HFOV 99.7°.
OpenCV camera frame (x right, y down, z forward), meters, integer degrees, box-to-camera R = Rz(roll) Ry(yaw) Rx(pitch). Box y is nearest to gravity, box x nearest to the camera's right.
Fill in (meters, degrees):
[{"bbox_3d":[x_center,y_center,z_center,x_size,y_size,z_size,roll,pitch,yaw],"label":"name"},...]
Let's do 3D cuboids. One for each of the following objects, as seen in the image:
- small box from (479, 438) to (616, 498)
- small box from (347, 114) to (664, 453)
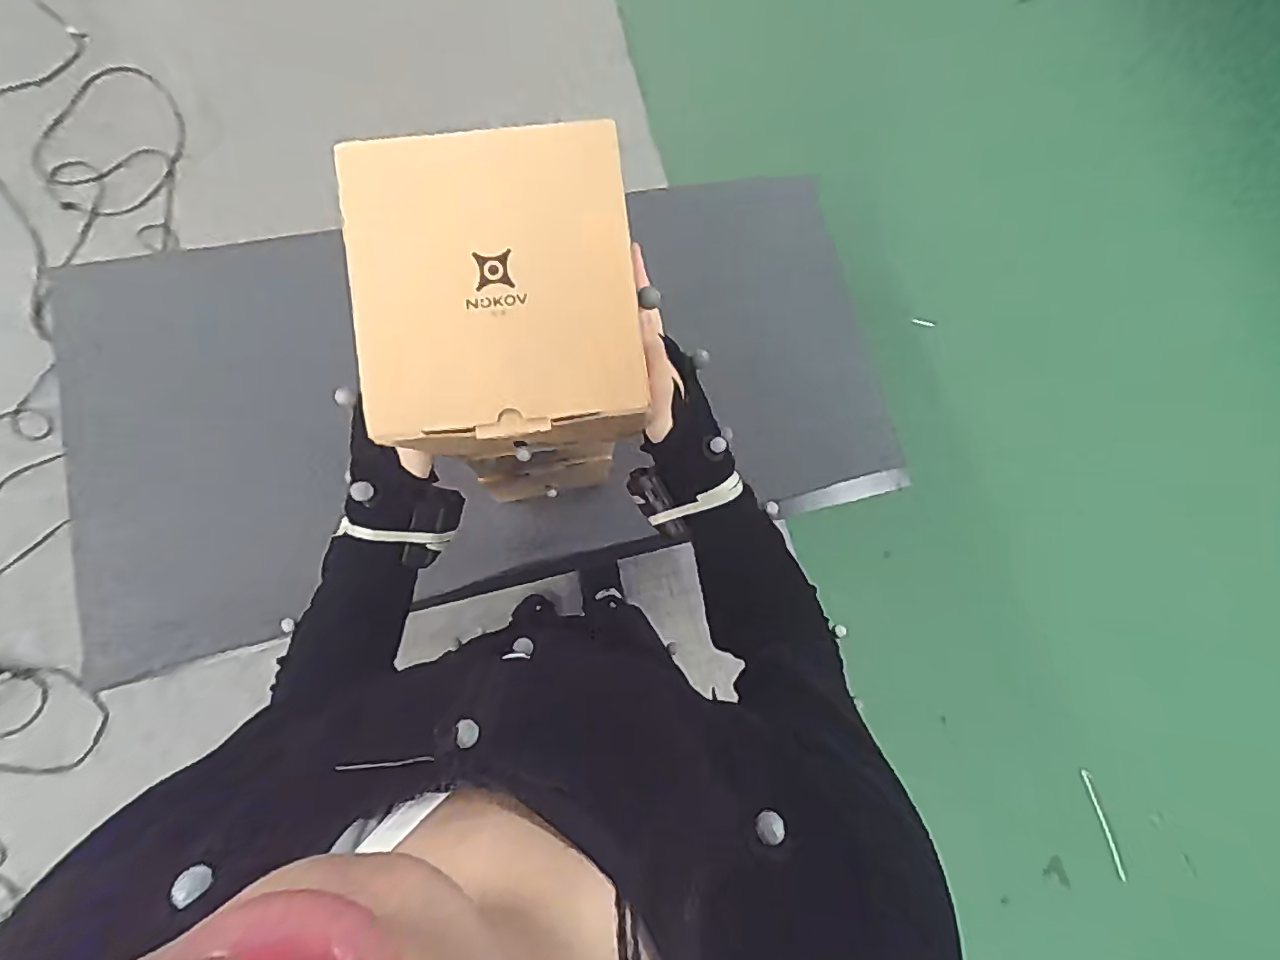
[{"bbox_3d":[-0.137,-0.086,0.744,0.168,0.176,0.179,-12,81,-9],"label":"small box"},{"bbox_3d":[-0.081,-0.118,0.389,0.168,0.176,0.179,-7,91,-3],"label":"small box"}]
